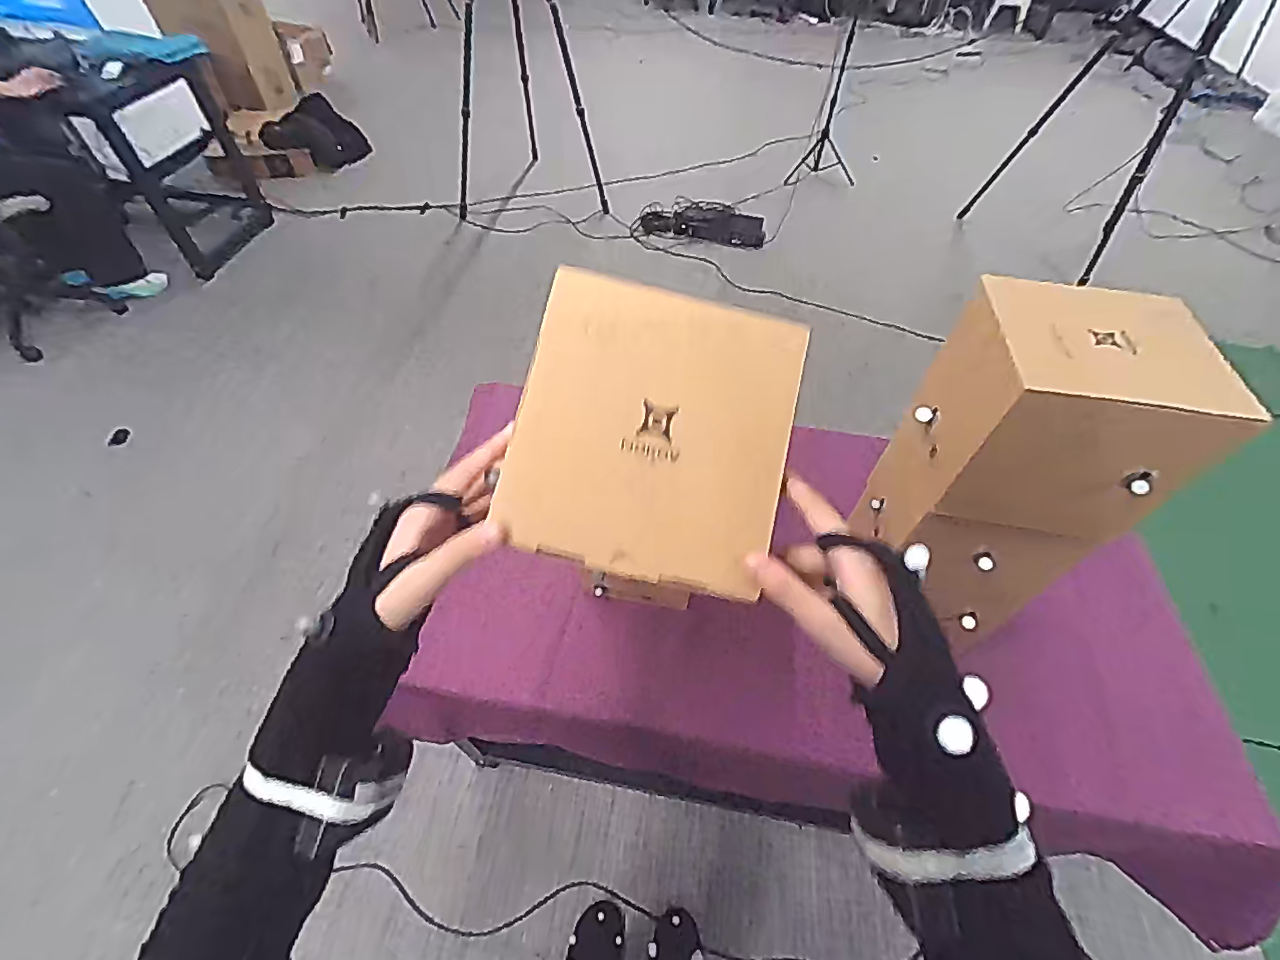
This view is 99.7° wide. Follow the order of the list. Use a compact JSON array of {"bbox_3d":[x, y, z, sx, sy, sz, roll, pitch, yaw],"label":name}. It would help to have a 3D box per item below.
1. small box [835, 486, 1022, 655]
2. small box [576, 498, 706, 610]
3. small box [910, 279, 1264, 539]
[{"bbox_3d":[0.395,0.135,0.777,0.179,0.176,0.168,10,51,6],"label":"small box"},{"bbox_3d":[0.008,0.075,0.814,0.168,0.176,0.179,9,51,5],"label":"small box"},{"bbox_3d":[0.387,-0.062,0.515,0.179,0.176,0.168,9,51,6],"label":"small box"}]
